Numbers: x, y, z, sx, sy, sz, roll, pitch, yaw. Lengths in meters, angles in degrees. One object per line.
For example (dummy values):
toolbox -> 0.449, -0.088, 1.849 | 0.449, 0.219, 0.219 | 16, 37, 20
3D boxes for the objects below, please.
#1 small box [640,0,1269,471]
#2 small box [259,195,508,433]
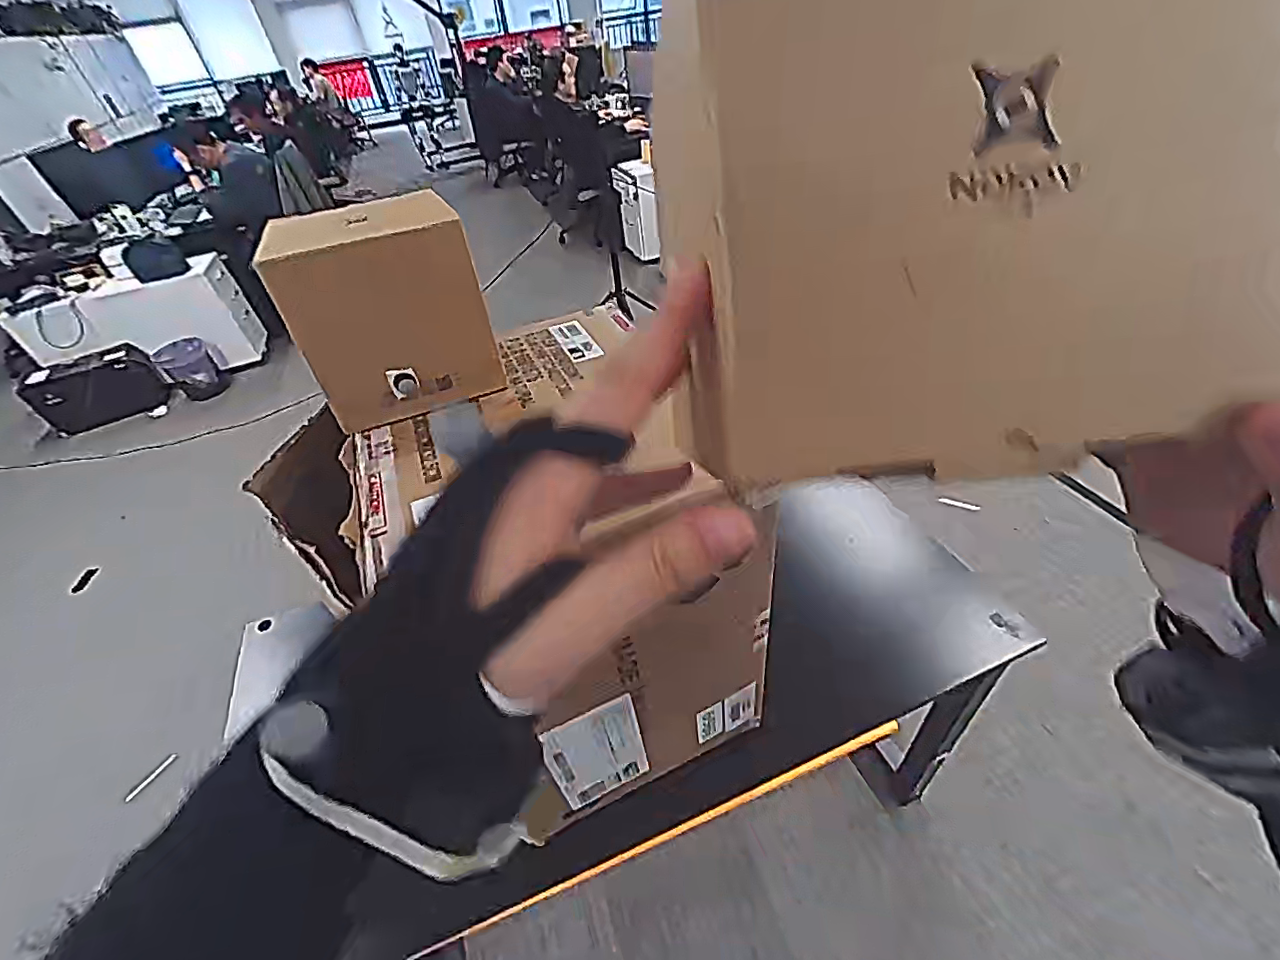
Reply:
small box -> 0.090, -0.107, 0.232 | 0.168, 0.179, 0.176 | -6, 8, -1
small box -> -0.252, -0.174, 0.556 | 0.168, 0.176, 0.179 | -22, 42, -16
